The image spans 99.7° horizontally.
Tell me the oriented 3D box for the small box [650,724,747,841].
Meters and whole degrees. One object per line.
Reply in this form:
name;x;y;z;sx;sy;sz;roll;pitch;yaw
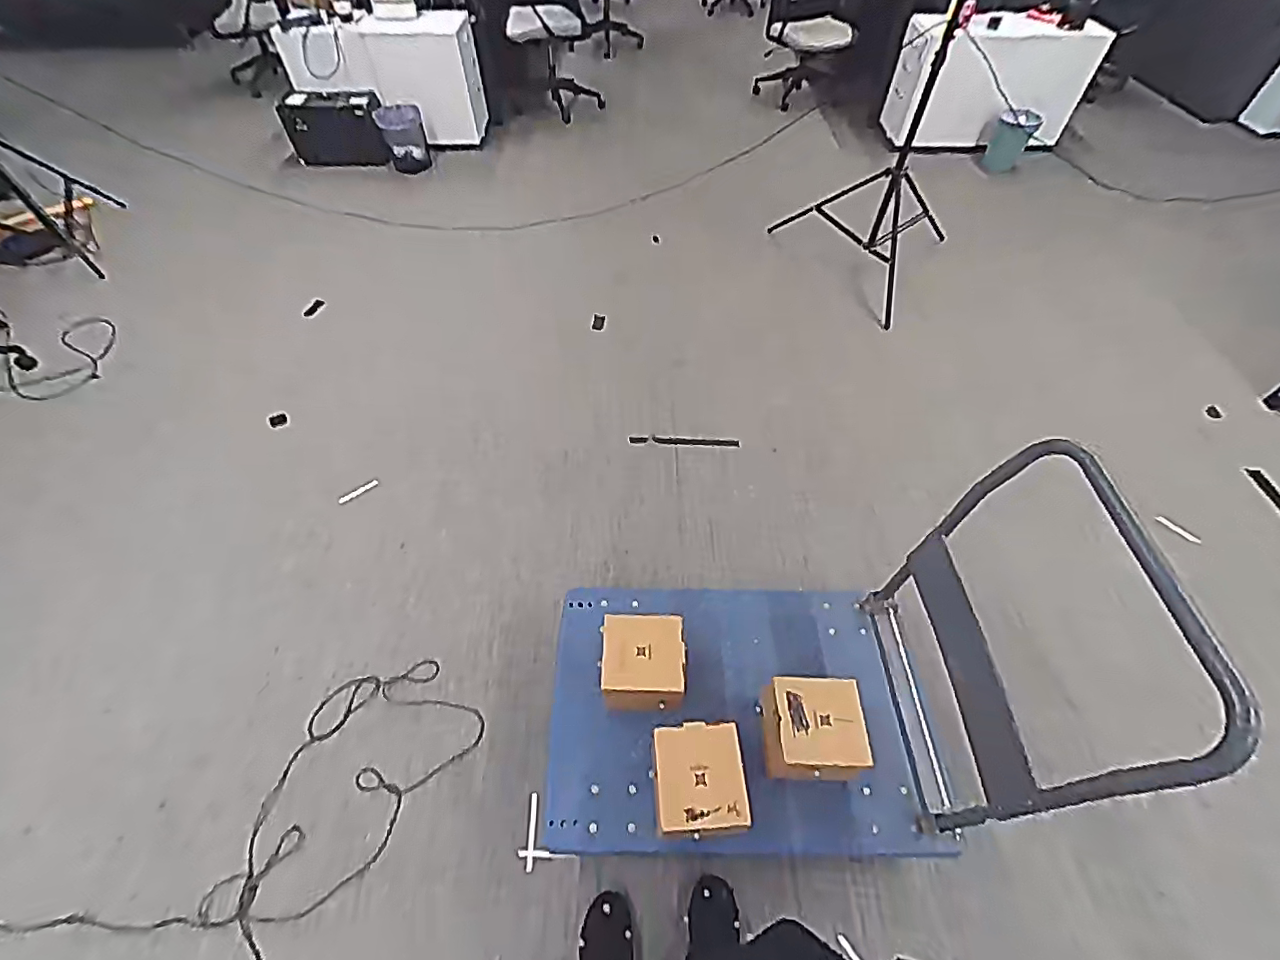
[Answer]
small box;0.108;0.608;1.086;0.168;0.176;0.179;-2;51;-3

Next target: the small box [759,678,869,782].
small box;0.355;0.533;1.146;0.179;0.176;0.168;3;52;0

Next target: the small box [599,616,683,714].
small box;0.002;0.422;1.226;0.179;0.176;0.168;1;52;0
